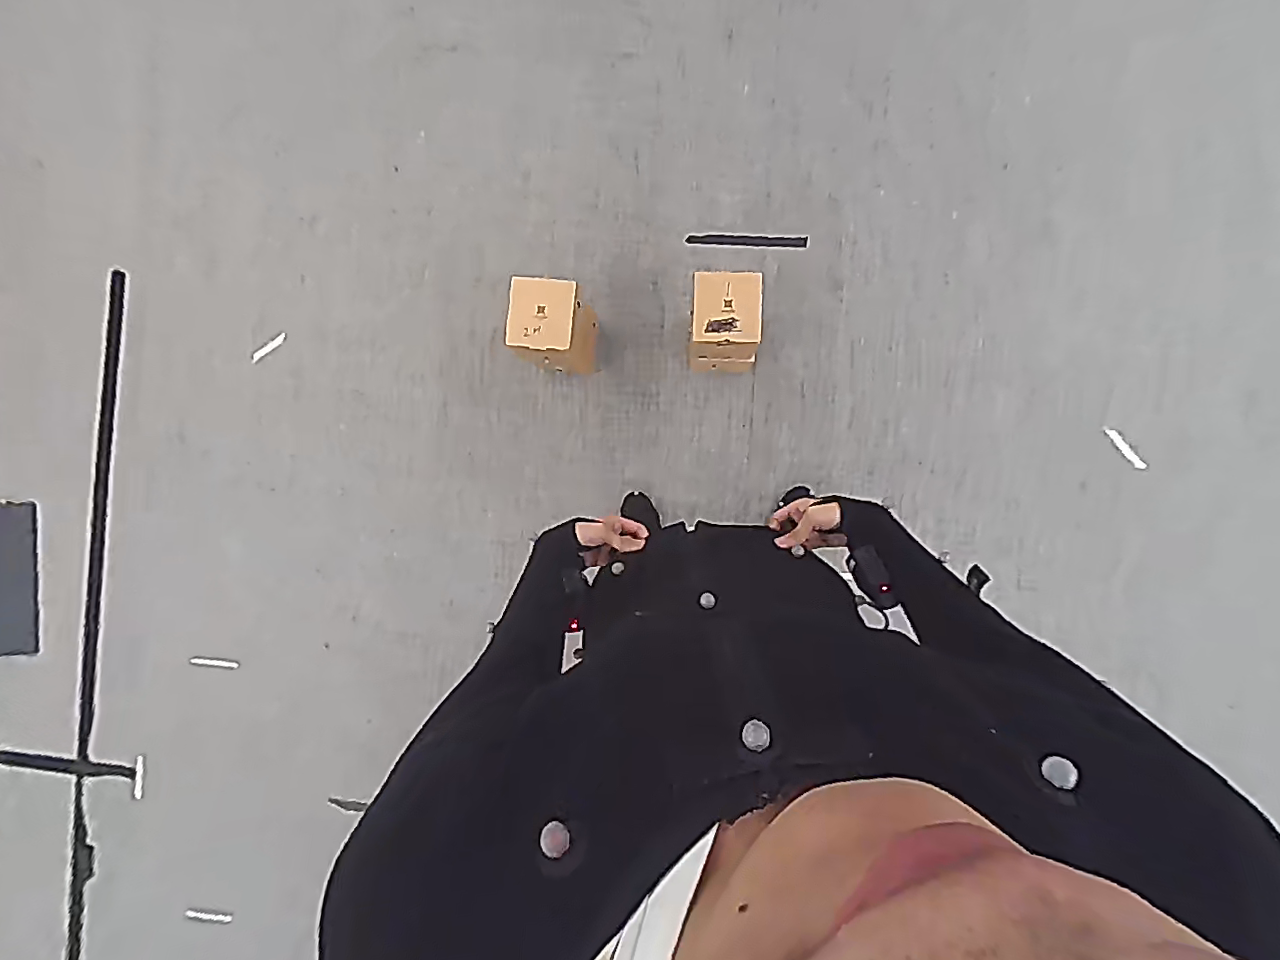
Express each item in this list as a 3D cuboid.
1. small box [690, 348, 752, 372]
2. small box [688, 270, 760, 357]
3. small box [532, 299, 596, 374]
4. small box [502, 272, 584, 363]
[{"bbox_3d":[0.229,-0.410,1.544,0.168,0.176,0.179,2,89,3],"label":"small box"},{"bbox_3d":[0.210,-0.418,1.381,0.168,0.176,0.179,2,88,3],"label":"small box"},{"bbox_3d":[-0.226,-0.419,1.567,0.168,0.176,0.179,7,90,5],"label":"small box"},{"bbox_3d":[-0.244,-0.416,1.405,0.168,0.176,0.179,6,91,4],"label":"small box"}]
